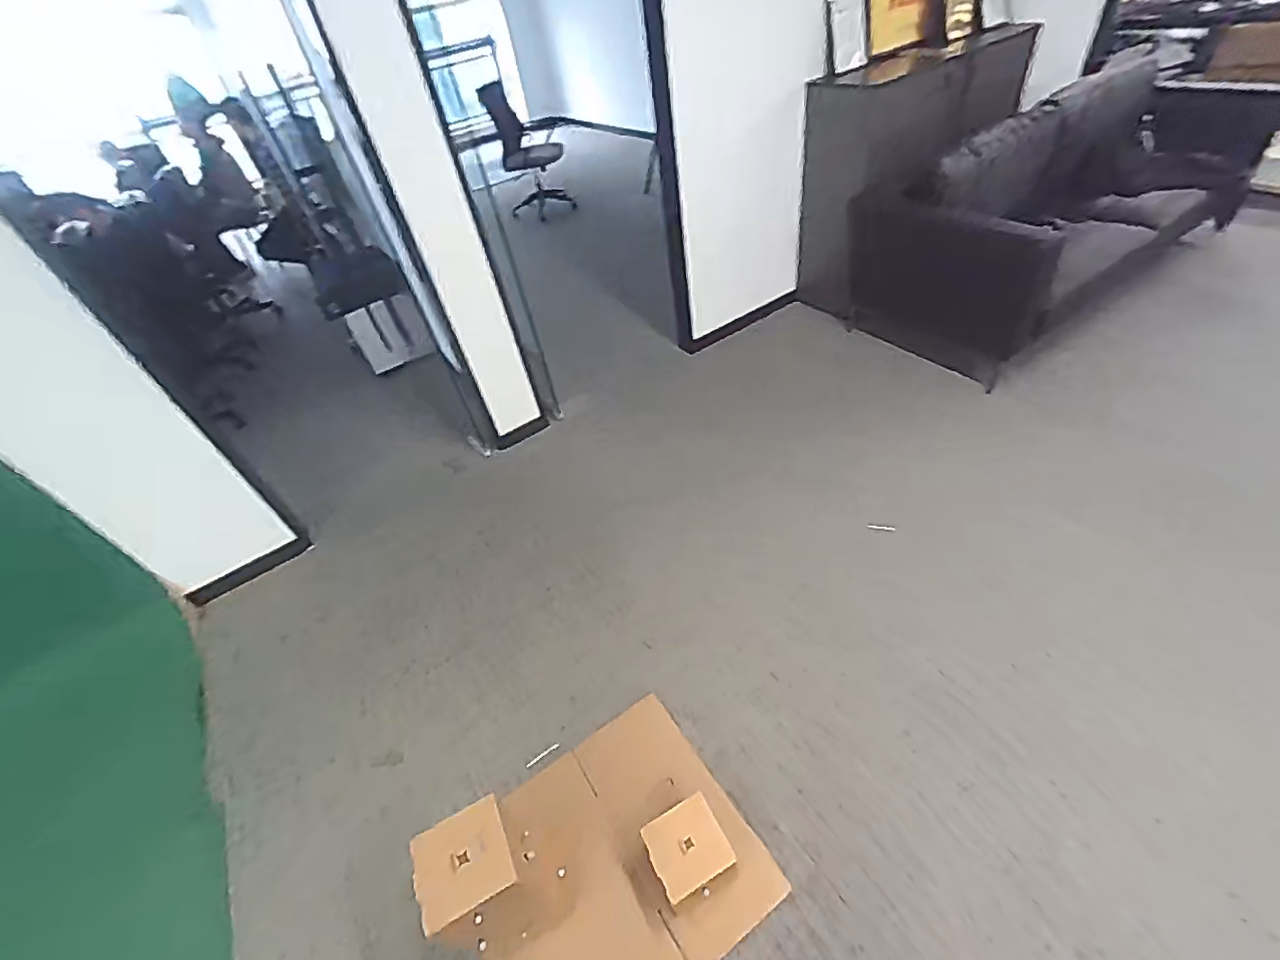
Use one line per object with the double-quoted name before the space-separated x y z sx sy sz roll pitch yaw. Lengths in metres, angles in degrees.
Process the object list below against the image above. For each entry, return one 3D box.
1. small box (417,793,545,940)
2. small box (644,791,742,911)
"small box" -0.312 0.768 1.072 0.179 0.176 0.168 -25 46 -13
"small box" 0.132 0.900 1.312 0.179 0.176 0.168 -26 45 -13
